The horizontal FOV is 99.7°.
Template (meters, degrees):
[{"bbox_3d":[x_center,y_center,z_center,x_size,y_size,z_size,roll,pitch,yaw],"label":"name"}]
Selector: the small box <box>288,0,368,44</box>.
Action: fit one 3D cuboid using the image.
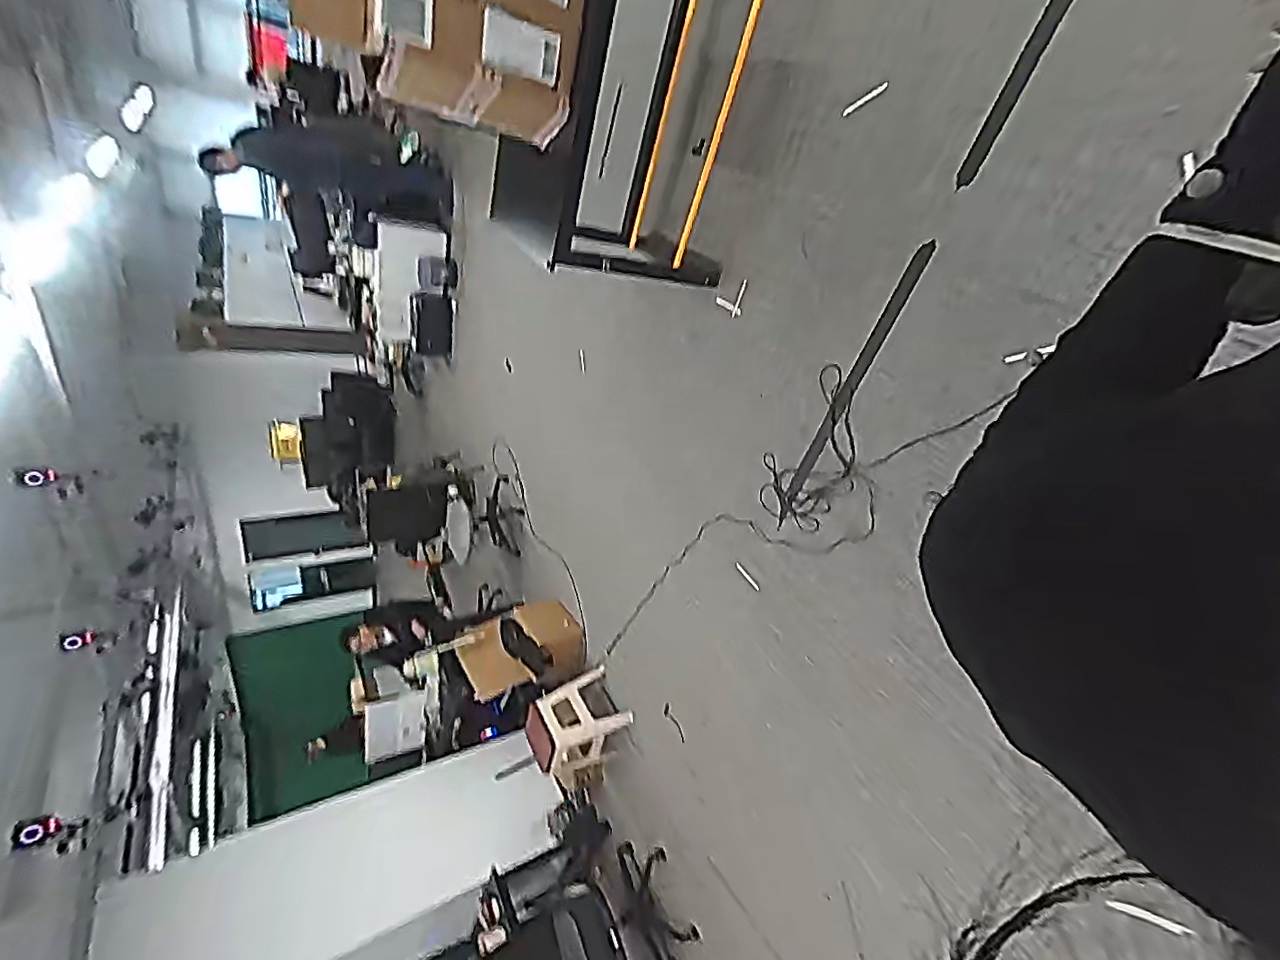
[{"bbox_3d":[-0.801,-1.256,1.385,0.168,0.176,0.179,49,132,45],"label":"small box"}]
